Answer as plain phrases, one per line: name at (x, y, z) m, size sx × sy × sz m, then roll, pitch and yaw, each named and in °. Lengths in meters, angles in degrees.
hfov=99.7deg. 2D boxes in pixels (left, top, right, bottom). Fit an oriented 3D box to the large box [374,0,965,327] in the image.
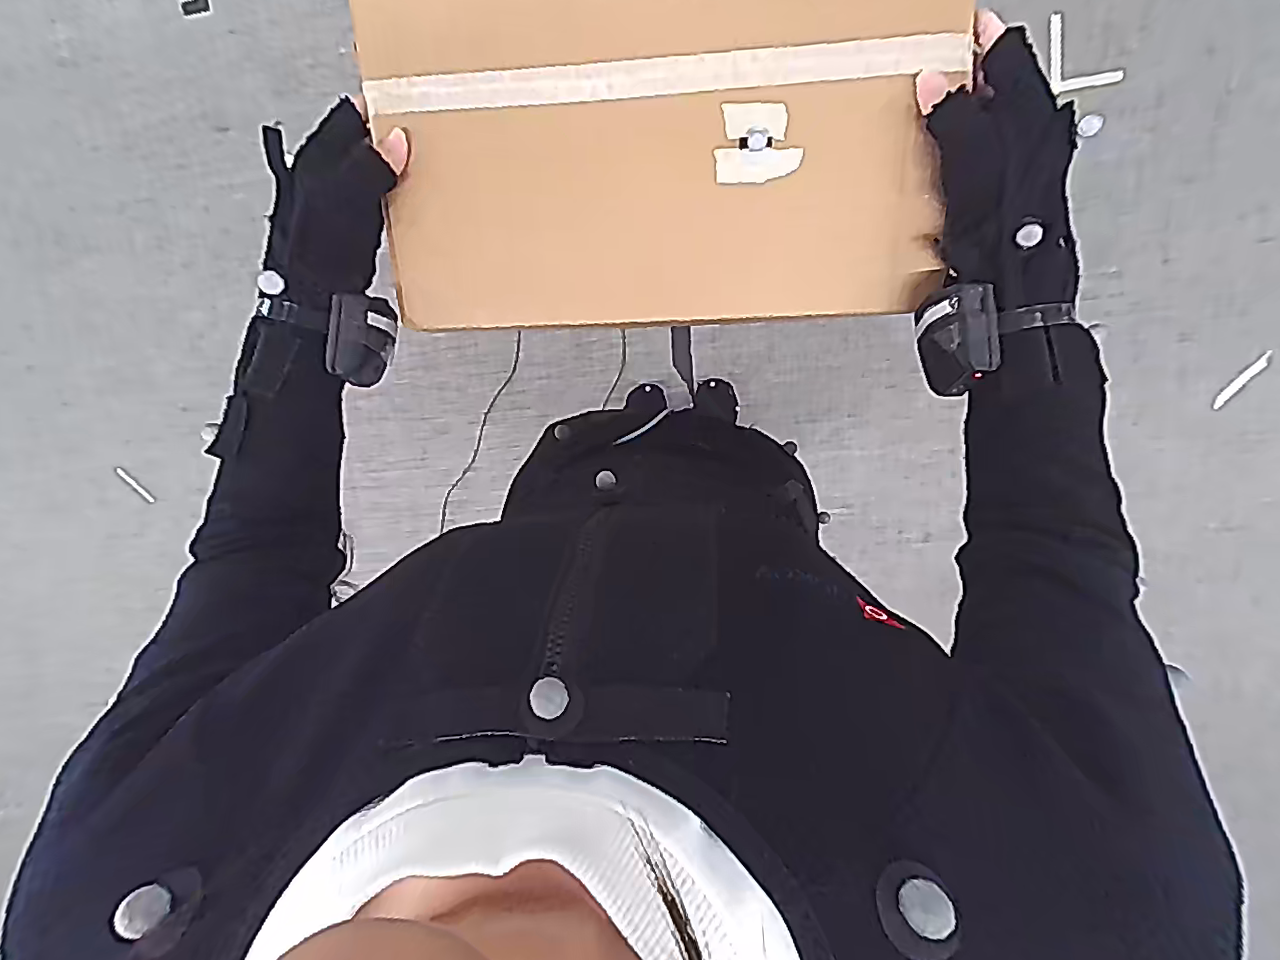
large box at (0.024, -0.318, 0.518) m, size 0.408 × 0.320 × 0.320 m, roll -1°, pitch 106°, yaw 4°
